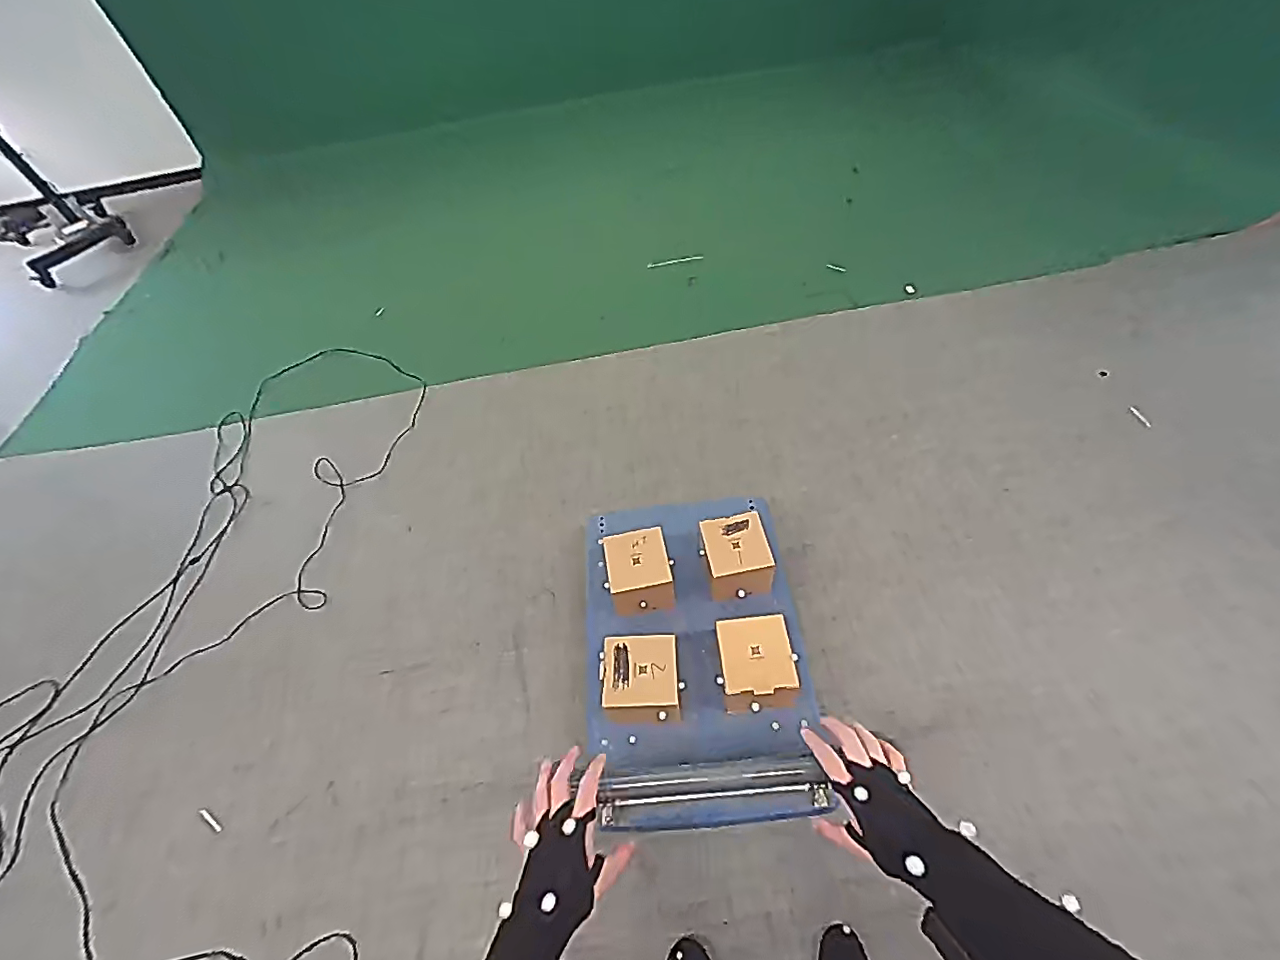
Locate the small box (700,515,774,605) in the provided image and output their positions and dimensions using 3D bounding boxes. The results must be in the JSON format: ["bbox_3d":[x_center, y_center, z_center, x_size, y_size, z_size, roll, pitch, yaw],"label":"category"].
[{"bbox_3d":[0.264,0.225,1.509,0.168,0.176,0.179,-11,53,0],"label":"small box"}]

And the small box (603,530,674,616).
[{"bbox_3d":[-0.003,0.267,1.511,0.168,0.176,0.179,-10,52,-2],"label":"small box"}]

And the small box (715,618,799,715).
[{"bbox_3d":[0.278,0.460,1.330,0.168,0.176,0.179,-6,53,2],"label":"small box"}]
